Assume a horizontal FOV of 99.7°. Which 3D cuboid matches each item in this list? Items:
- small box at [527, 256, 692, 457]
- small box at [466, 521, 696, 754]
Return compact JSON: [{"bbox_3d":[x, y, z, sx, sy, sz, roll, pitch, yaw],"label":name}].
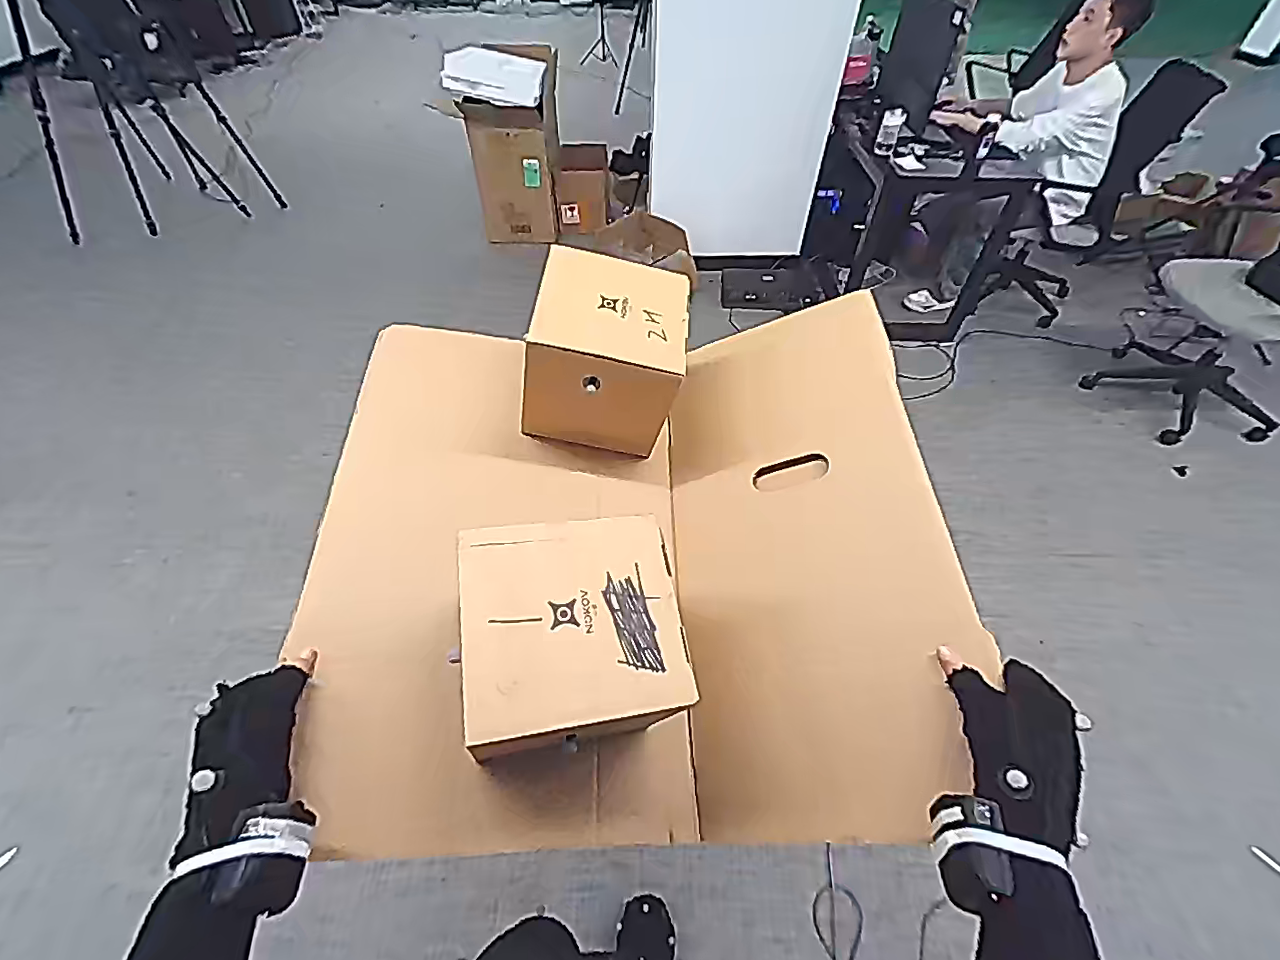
[{"bbox_3d":[-0.043,-0.148,0.695,0.179,0.176,0.168,12,58,-8],"label":"small box"},{"bbox_3d":[-0.068,0.151,0.509,0.179,0.176,0.168,-3,61,-16],"label":"small box"}]
